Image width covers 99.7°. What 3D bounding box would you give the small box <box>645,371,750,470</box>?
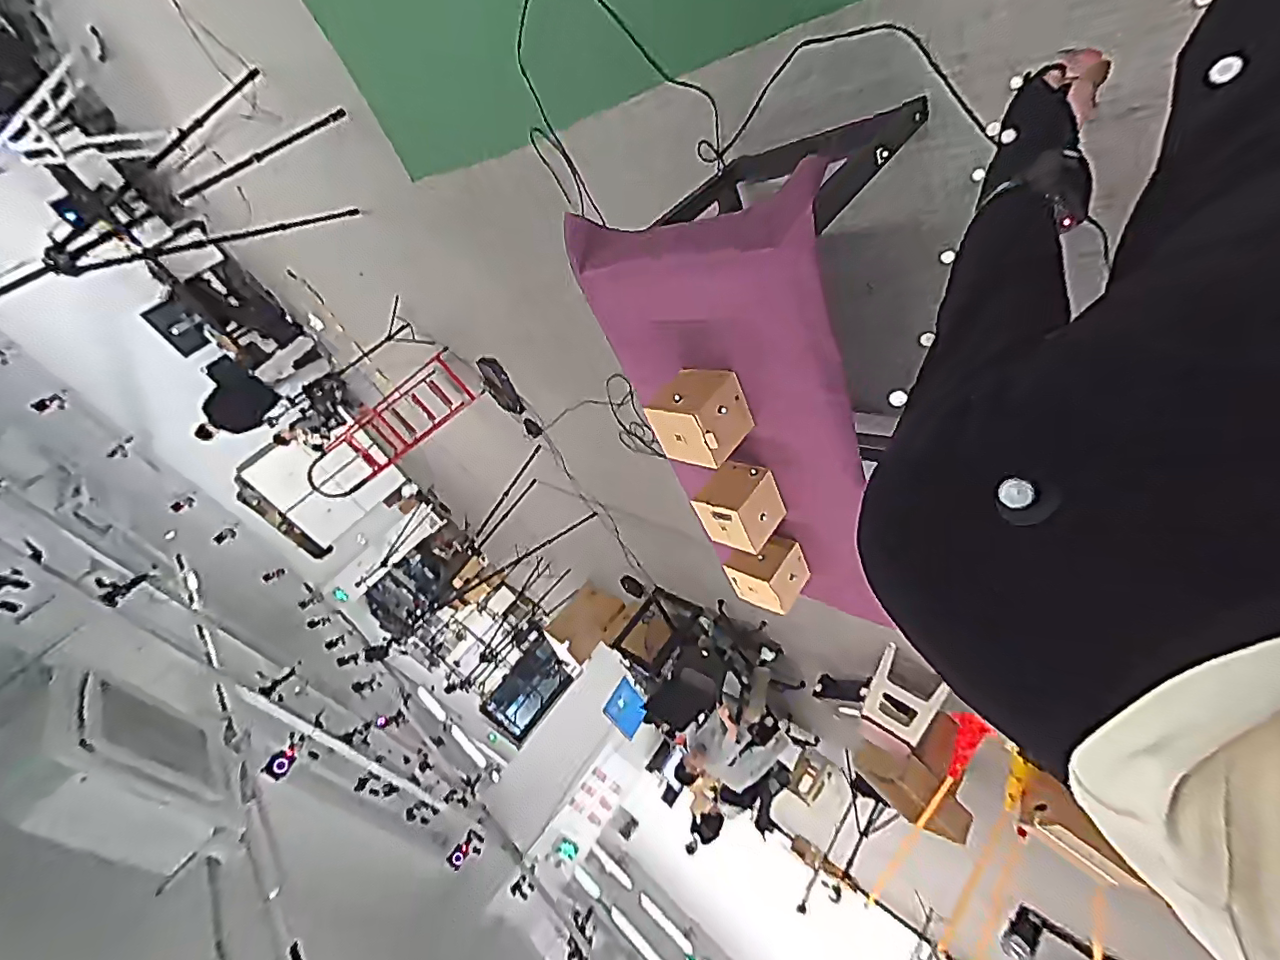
[{"bbox_3d":[0.150,-0.152,1.330,0.179,0.176,0.168,16,144,45],"label":"small box"}]

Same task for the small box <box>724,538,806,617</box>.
[{"bbox_3d":[0.396,0.289,1.676,0.179,0.176,0.168,14,142,46],"label":"small box"}]

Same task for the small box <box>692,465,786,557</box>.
[{"bbox_3d":[0.280,0.079,1.510,0.168,0.176,0.179,15,145,46],"label":"small box"}]
